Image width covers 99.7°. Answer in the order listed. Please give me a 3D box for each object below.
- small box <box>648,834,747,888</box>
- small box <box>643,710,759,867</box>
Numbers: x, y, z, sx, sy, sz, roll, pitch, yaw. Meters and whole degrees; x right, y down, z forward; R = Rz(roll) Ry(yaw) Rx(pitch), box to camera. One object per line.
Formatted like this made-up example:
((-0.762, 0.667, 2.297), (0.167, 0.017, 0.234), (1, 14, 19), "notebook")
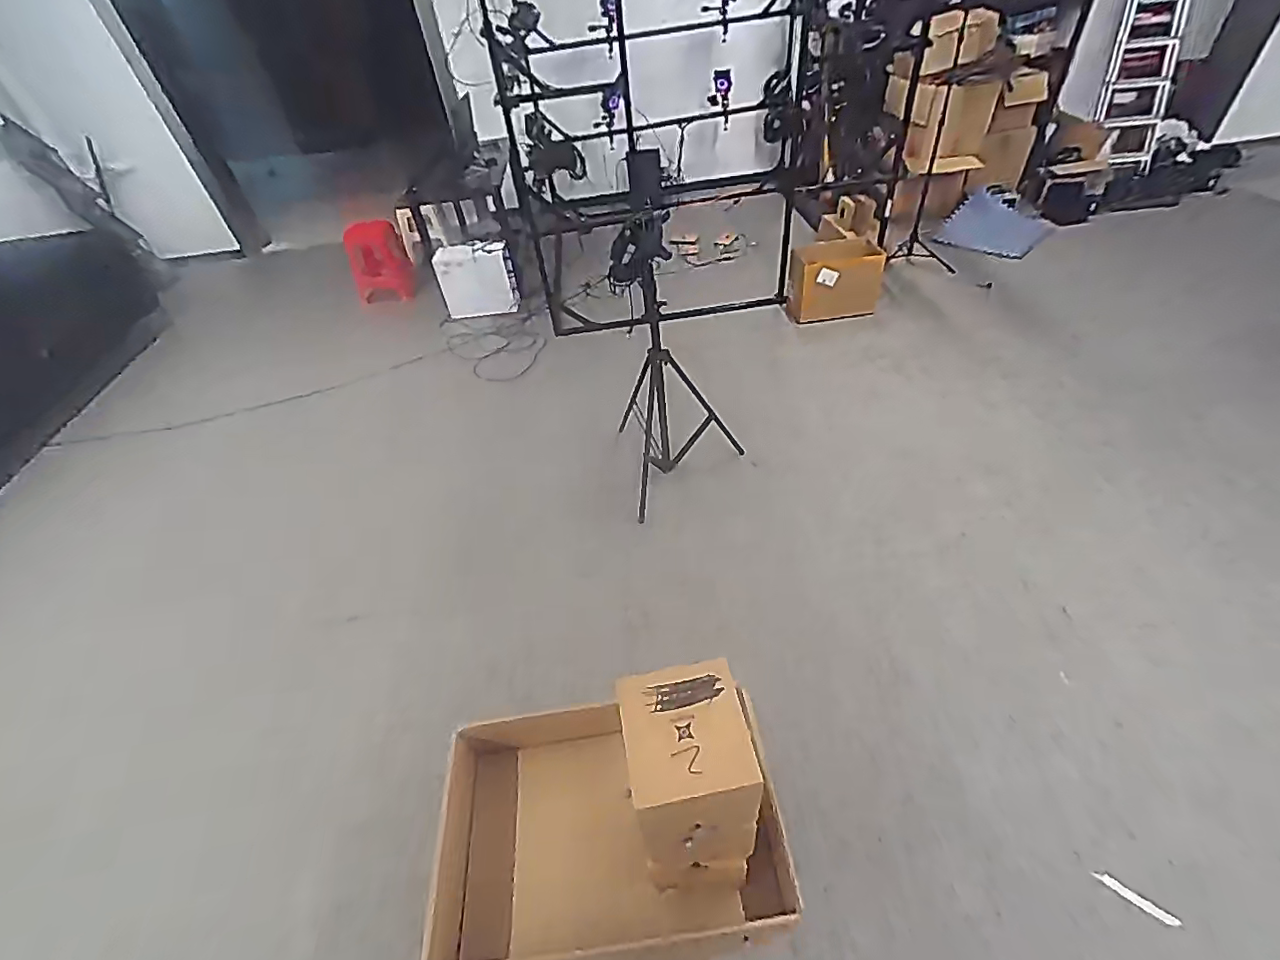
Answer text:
((0.103, 0.632, 0.996), (0.168, 0.176, 0.179), (-3, 43, 4), "small box")
((0.094, 0.507, 0.890), (0.168, 0.176, 0.179), (-7, 42, 2), "small box")
